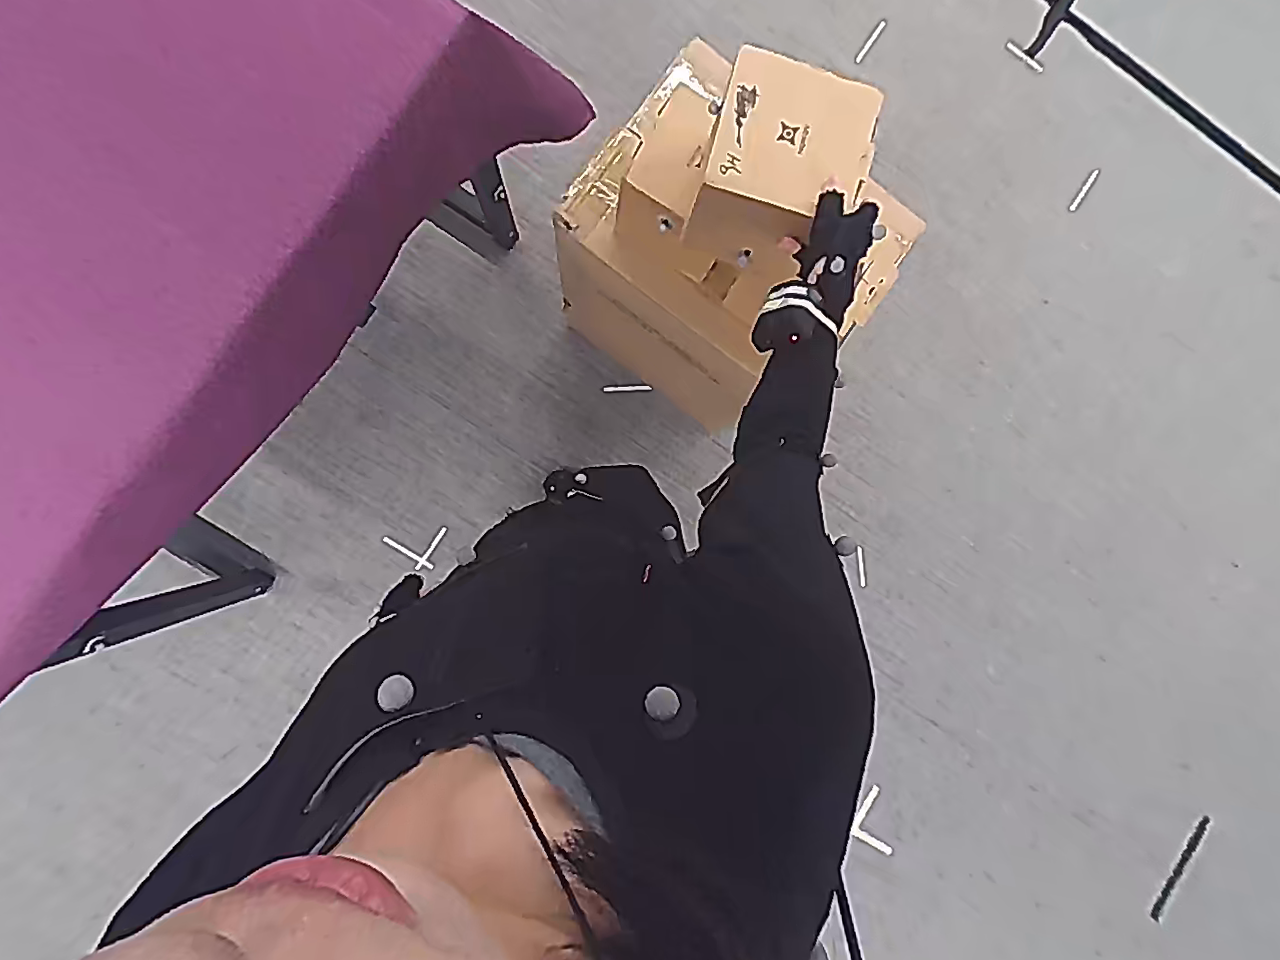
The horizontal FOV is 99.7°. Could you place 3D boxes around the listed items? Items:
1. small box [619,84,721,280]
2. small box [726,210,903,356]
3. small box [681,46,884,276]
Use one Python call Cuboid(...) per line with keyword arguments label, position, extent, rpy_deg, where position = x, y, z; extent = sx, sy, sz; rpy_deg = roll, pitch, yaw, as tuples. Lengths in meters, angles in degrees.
Cuboid(label="small box", position=(0.080, -0.444, 0.839), extent=(0.179, 0.176, 0.168), rpy_deg=(31, 87, -6))
Cuboid(label="small box", position=(0.261, -0.315, 0.853), extent=(0.179, 0.176, 0.168), rpy_deg=(36, 86, -1))
Cuboid(label="small box", position=(0.166, -0.380, 0.683), extent=(0.179, 0.176, 0.168), rpy_deg=(16, 88, -5))
